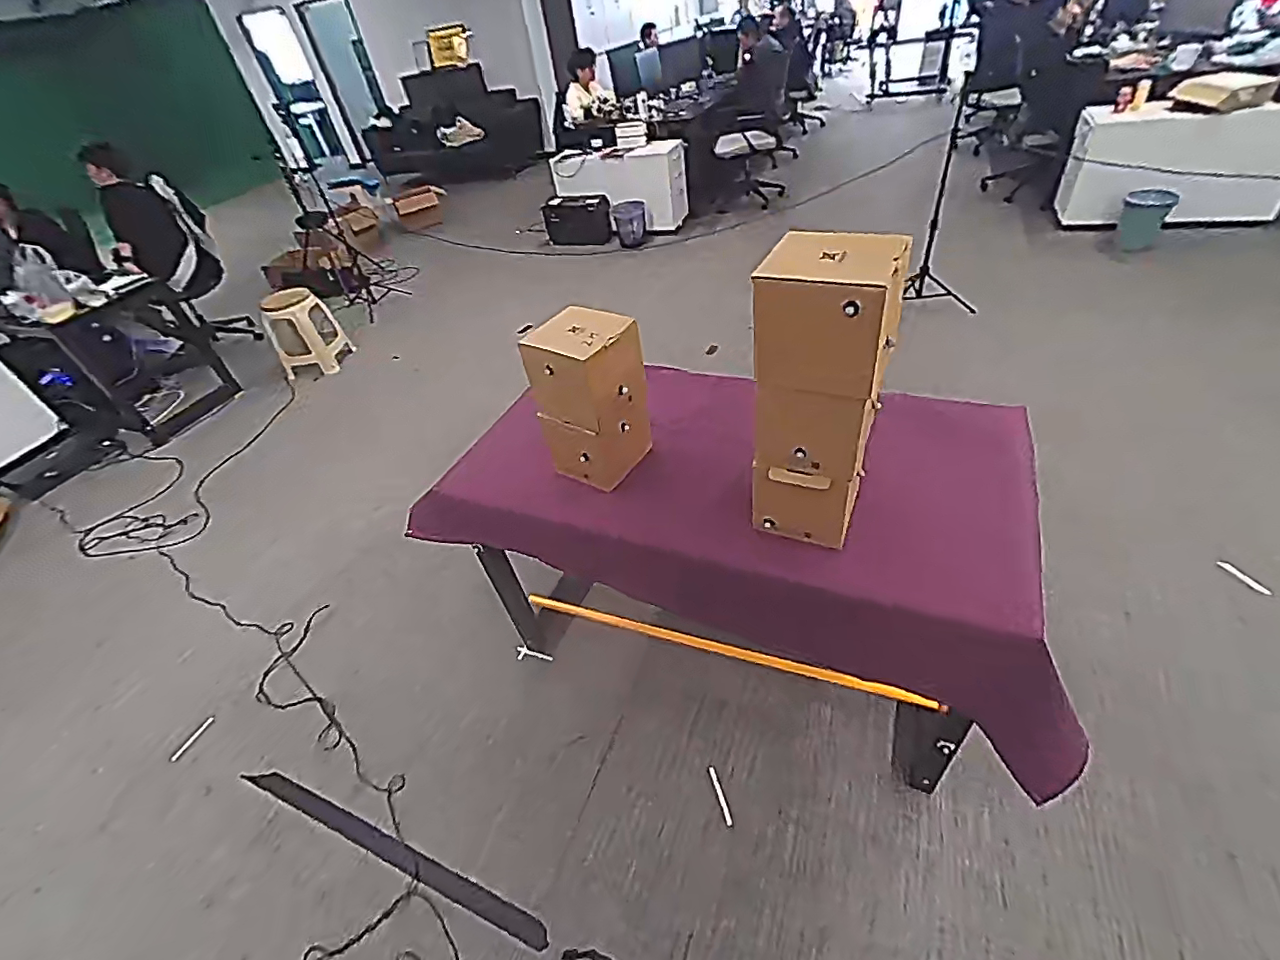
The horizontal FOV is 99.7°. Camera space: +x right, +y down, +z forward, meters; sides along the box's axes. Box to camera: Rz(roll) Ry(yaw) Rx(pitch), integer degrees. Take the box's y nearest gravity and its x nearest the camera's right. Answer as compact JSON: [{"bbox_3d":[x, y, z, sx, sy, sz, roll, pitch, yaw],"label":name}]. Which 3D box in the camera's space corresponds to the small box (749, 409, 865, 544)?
[{"bbox_3d":[0.310,-0.007,1.007,0.168,0.176,0.179,13,46,24],"label":"small box"}]

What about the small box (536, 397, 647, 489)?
[{"bbox_3d":[-0.098,-0.106,1.206,0.168,0.176,0.179,20,50,29],"label":"small box"}]

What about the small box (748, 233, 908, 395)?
[{"bbox_3d":[0.267,-0.242,0.785,0.179,0.176,0.168,15,48,26],"label":"small box"}]

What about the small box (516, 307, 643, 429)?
[{"bbox_3d":[-0.115,-0.226,1.095,0.179,0.176,0.168,21,52,29],"label":"small box"}]
